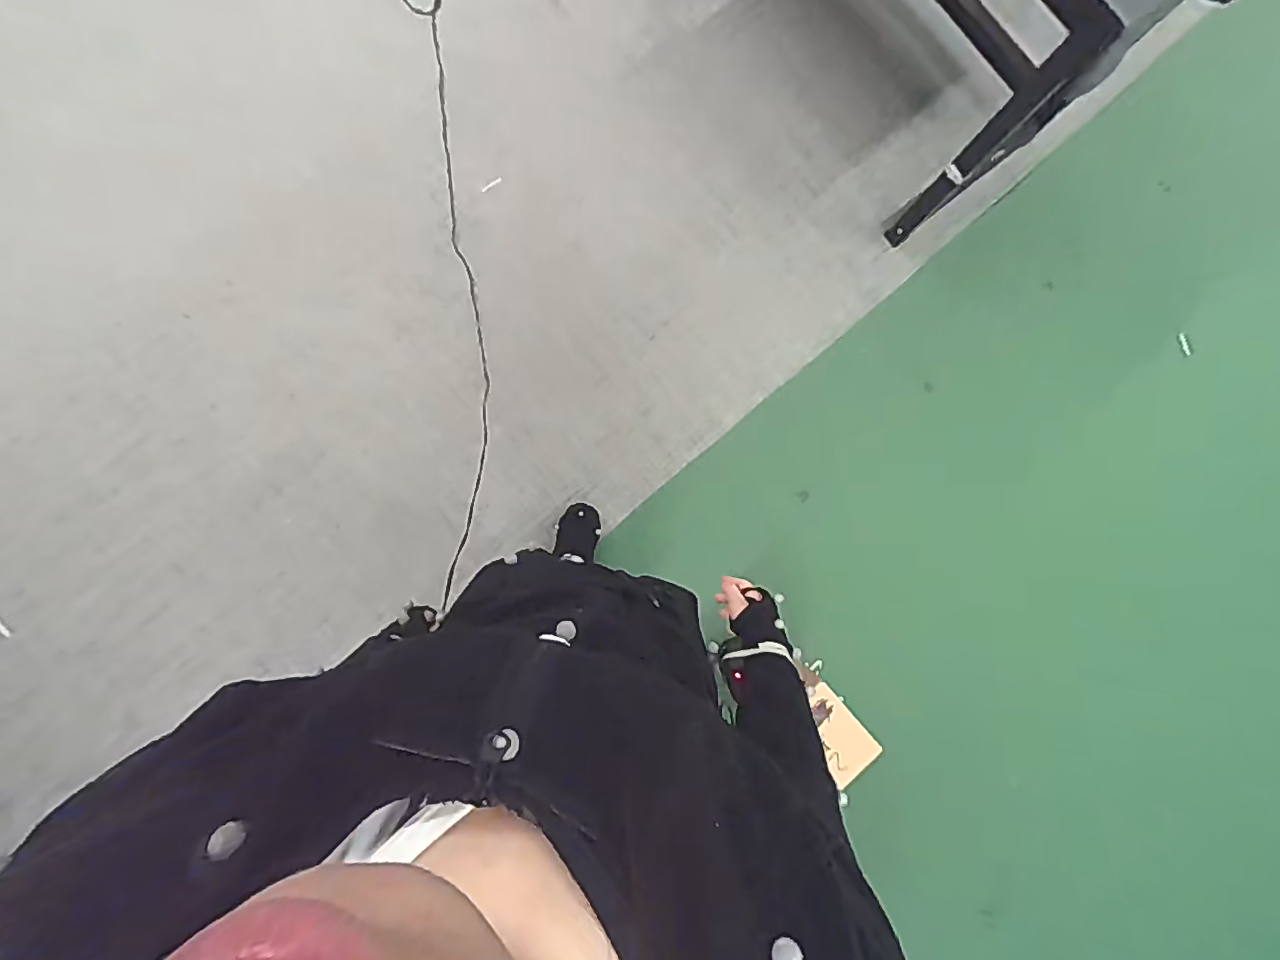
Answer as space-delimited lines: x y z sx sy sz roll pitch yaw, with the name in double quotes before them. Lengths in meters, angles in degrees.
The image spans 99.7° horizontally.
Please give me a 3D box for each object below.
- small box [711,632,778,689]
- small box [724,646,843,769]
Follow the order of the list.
"small box" 0.310 0.521 1.406 0.168 0.176 0.179 -40 89 -7
"small box" 0.321 0.510 1.244 0.168 0.176 0.179 -41 89 -6
